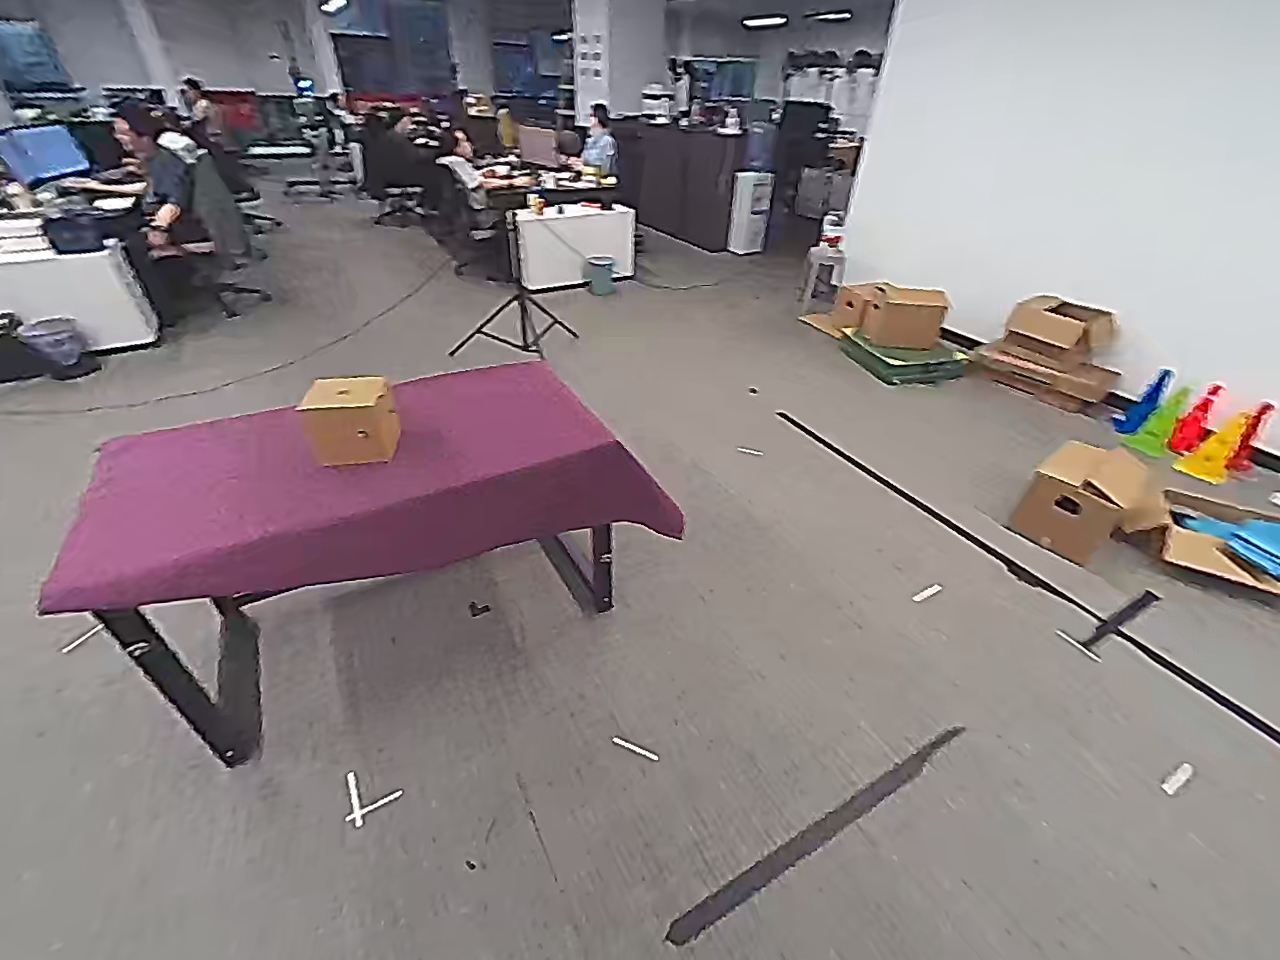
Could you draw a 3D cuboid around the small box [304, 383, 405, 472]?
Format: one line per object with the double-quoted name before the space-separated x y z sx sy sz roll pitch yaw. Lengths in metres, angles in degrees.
"small box" -0.732 -0.138 1.411 0.179 0.176 0.168 -6 36 -8
